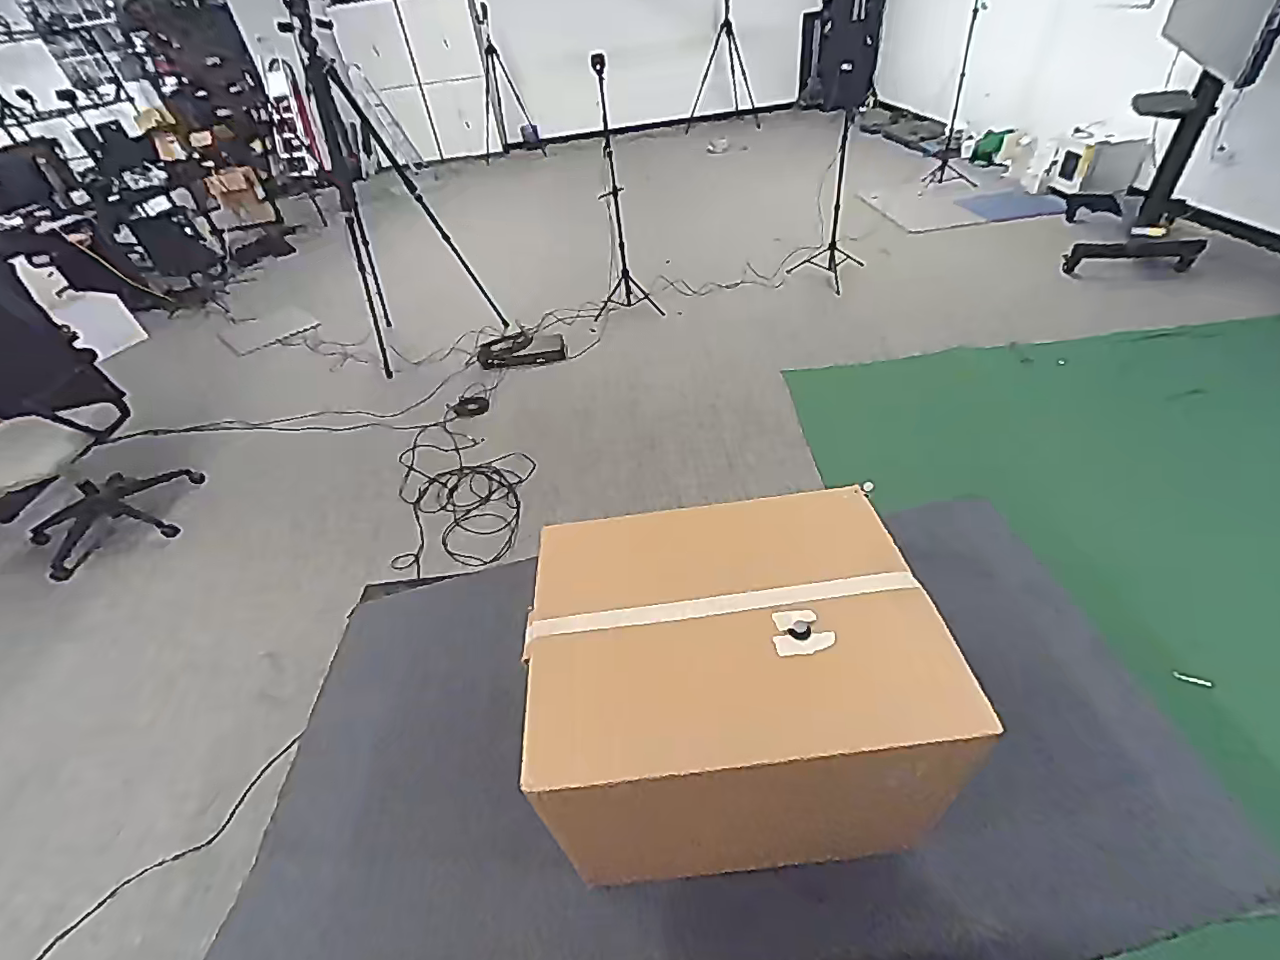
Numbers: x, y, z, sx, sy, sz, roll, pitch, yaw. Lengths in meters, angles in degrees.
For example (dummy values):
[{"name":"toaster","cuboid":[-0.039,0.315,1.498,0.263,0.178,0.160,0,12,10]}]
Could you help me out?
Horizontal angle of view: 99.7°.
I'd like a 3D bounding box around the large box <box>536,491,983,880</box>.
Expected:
[{"name":"large box","cuboid":[0.106,0.251,0.675,0.408,0.320,0.320,-8,41,1]}]
